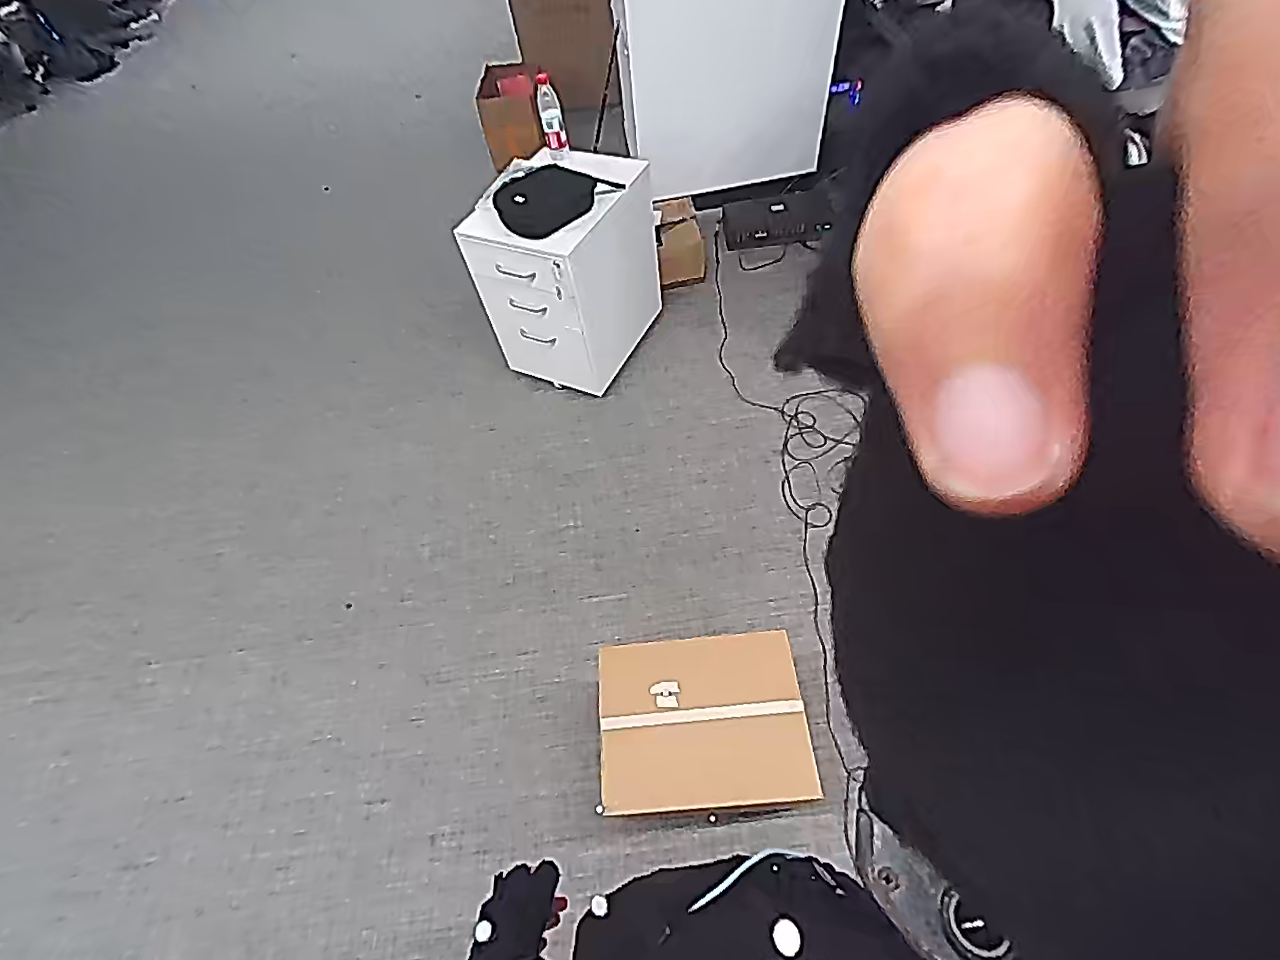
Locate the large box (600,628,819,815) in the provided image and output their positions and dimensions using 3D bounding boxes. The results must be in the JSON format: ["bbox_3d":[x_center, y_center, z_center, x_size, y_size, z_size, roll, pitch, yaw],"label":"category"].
[{"bbox_3d":[0.139,0.546,1.201,0.408,0.320,0.320,-7,56,3],"label":"large box"}]
